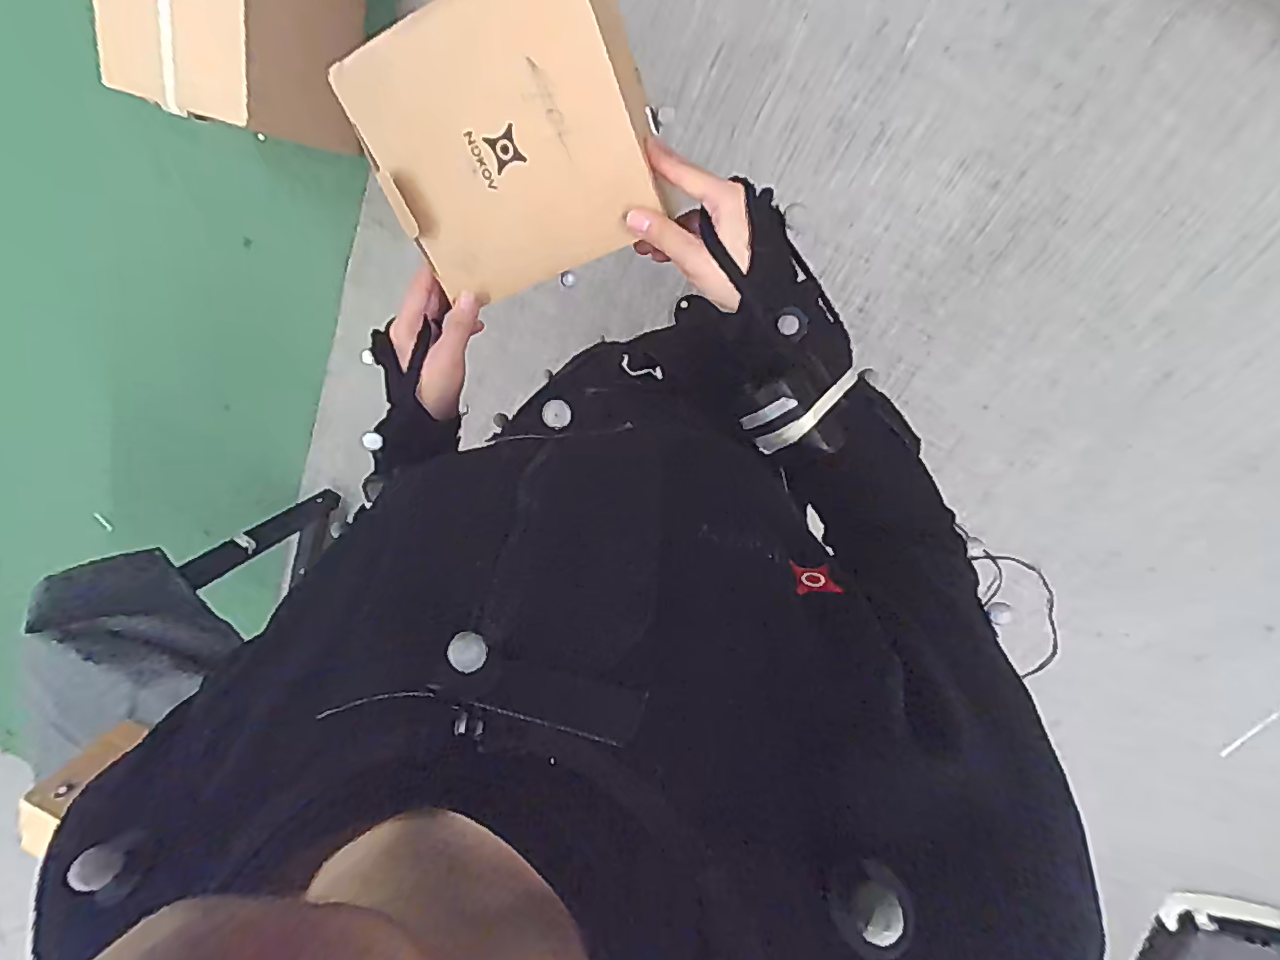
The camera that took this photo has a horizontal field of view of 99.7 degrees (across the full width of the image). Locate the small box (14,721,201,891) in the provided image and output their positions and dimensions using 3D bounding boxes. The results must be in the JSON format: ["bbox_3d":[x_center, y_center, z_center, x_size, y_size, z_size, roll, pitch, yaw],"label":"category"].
[{"bbox_3d":[-0.935,0.571,0.962,0.179,0.176,0.168,31,115,0],"label":"small box"}]
